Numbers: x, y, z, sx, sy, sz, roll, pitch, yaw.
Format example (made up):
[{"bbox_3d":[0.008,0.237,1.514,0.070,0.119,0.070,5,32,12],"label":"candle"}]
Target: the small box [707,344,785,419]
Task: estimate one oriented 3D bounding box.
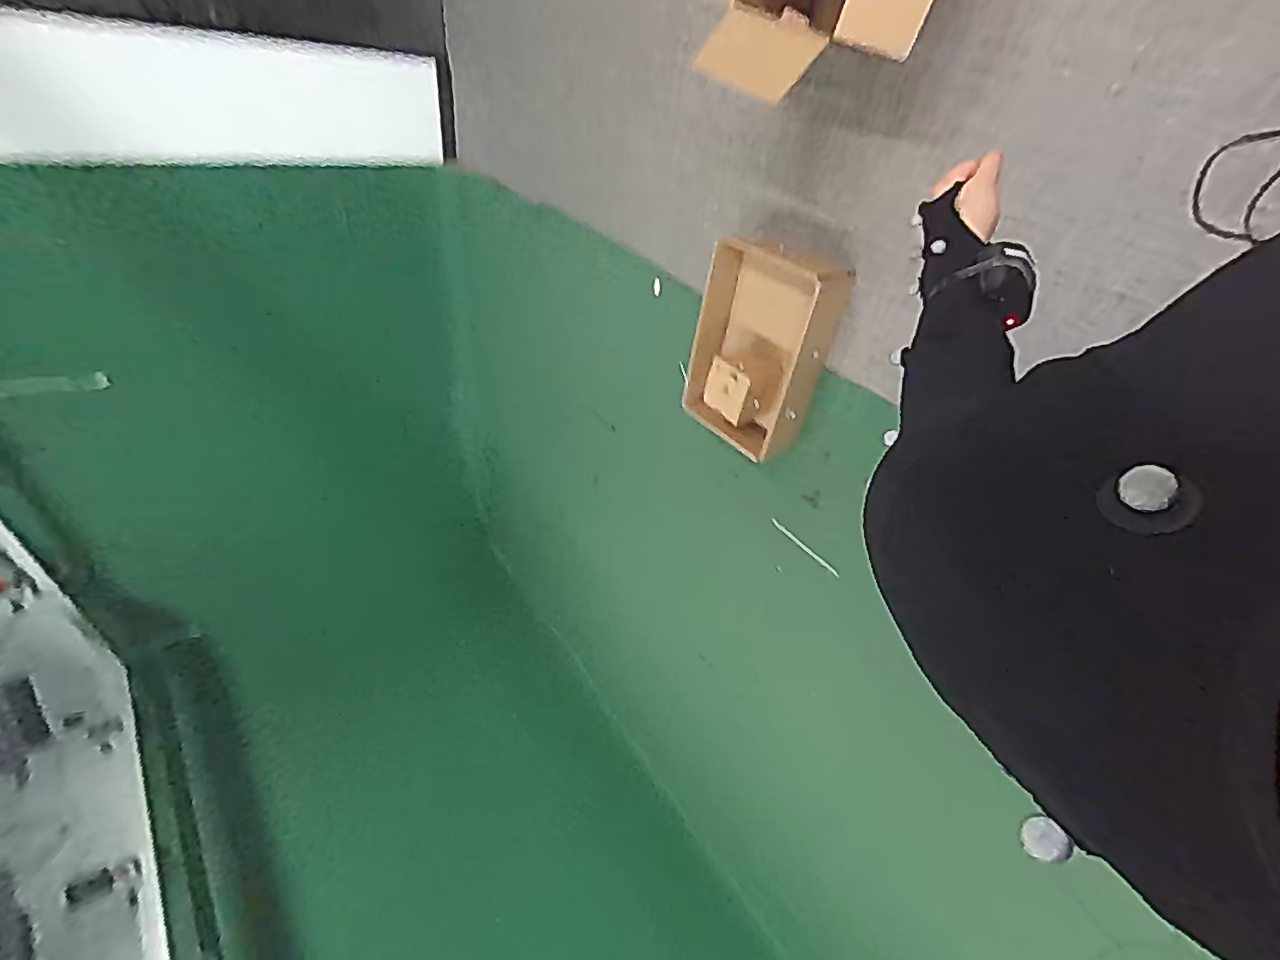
[{"bbox_3d":[0.357,-0.334,1.815,0.168,0.176,0.179,44,139,34],"label":"small box"}]
